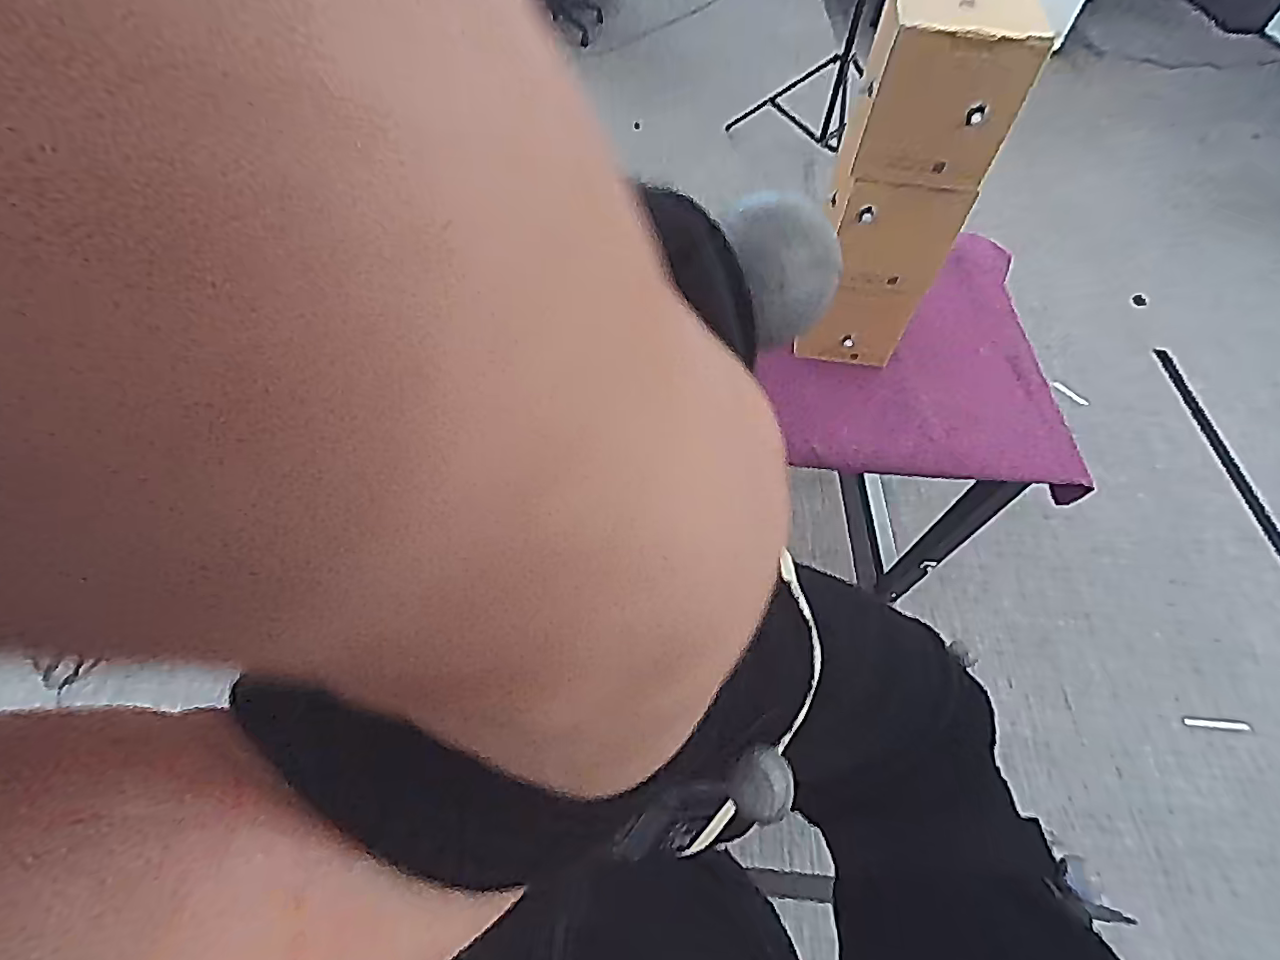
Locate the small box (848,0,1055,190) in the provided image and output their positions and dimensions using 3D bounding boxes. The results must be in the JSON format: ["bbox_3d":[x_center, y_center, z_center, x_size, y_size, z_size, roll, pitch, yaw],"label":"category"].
[{"bbox_3d":[0.375,-0.499,0.689,0.168,0.176,0.179,10,57,5],"label":"small box"}]

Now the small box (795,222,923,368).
[{"bbox_3d":[0.380,-0.329,0.968,0.168,0.176,0.179,8,58,6],"label":"small box"}]
